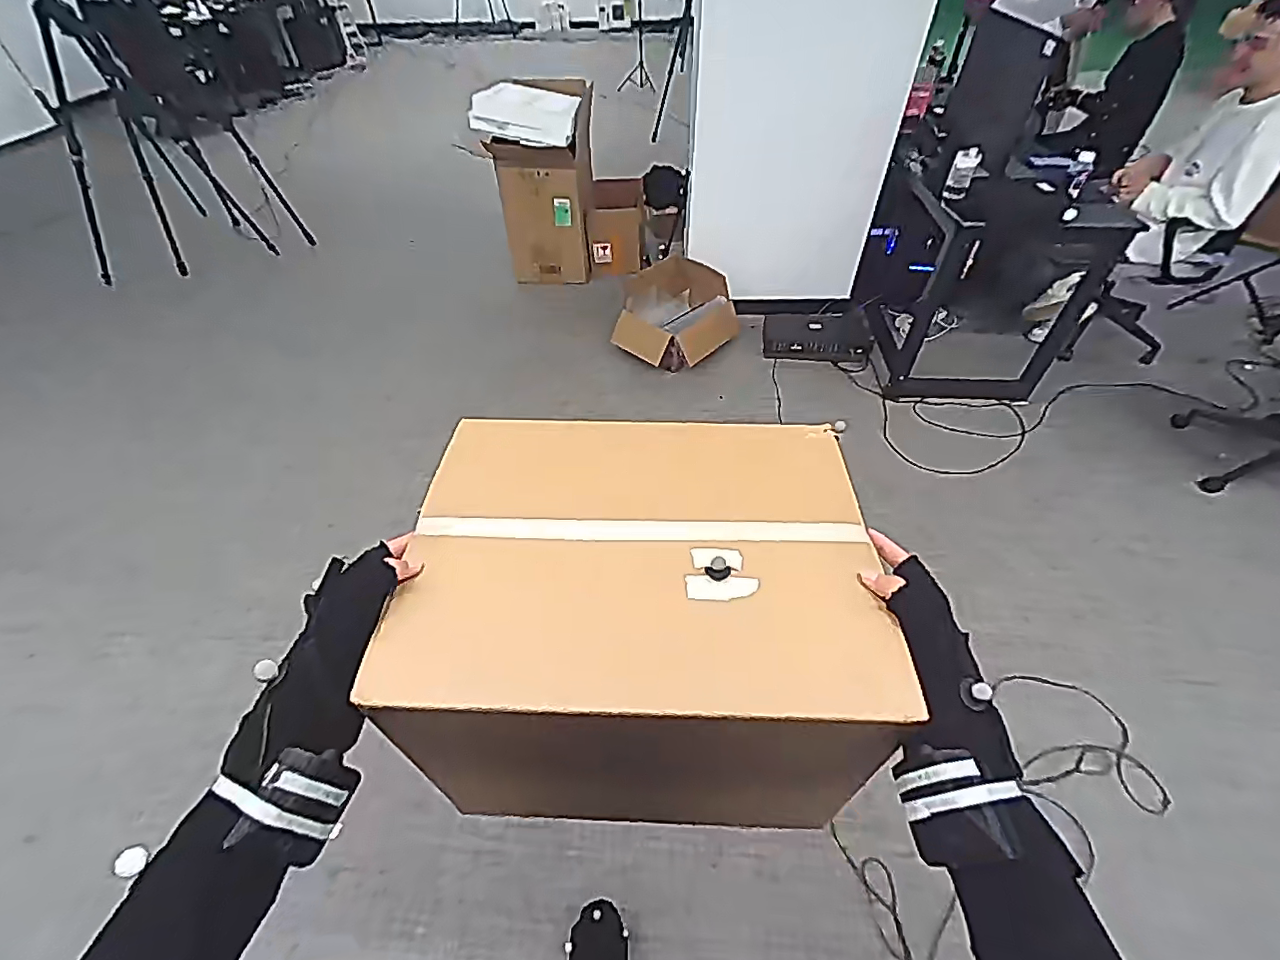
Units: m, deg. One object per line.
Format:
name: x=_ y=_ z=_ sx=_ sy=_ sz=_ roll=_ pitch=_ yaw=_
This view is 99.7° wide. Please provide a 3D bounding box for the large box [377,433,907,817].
large box: x=0.002 y=0.162 z=0.607 sx=0.408 sy=0.320 sz=0.320 roll=1 pitch=46 yaw=2
